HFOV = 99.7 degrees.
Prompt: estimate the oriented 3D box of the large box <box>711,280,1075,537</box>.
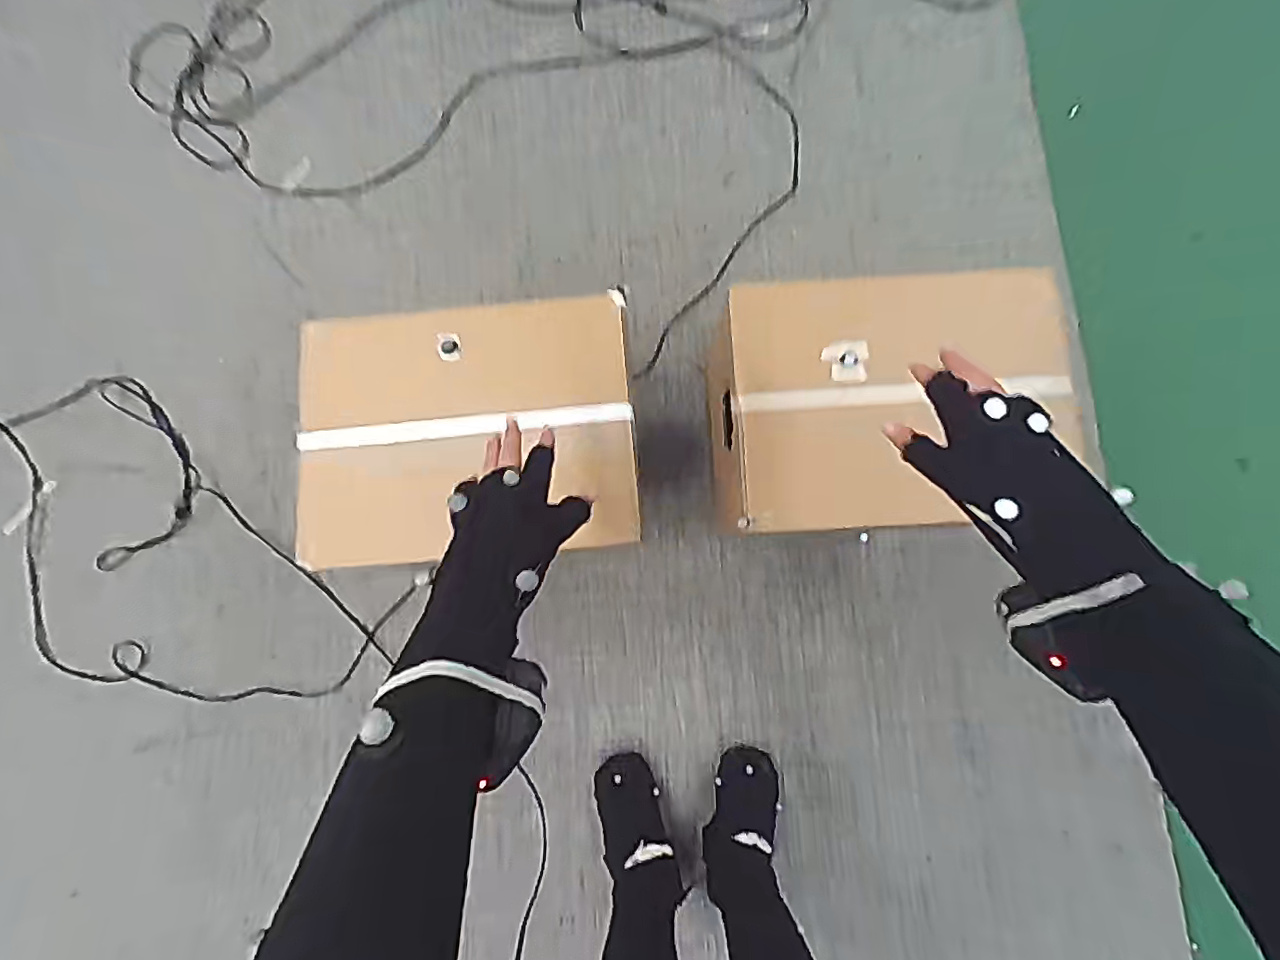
[{"bbox_3d":[0.331,-0.077,0.824,0.408,0.320,0.320,-3,83,1],"label":"large box"}]
